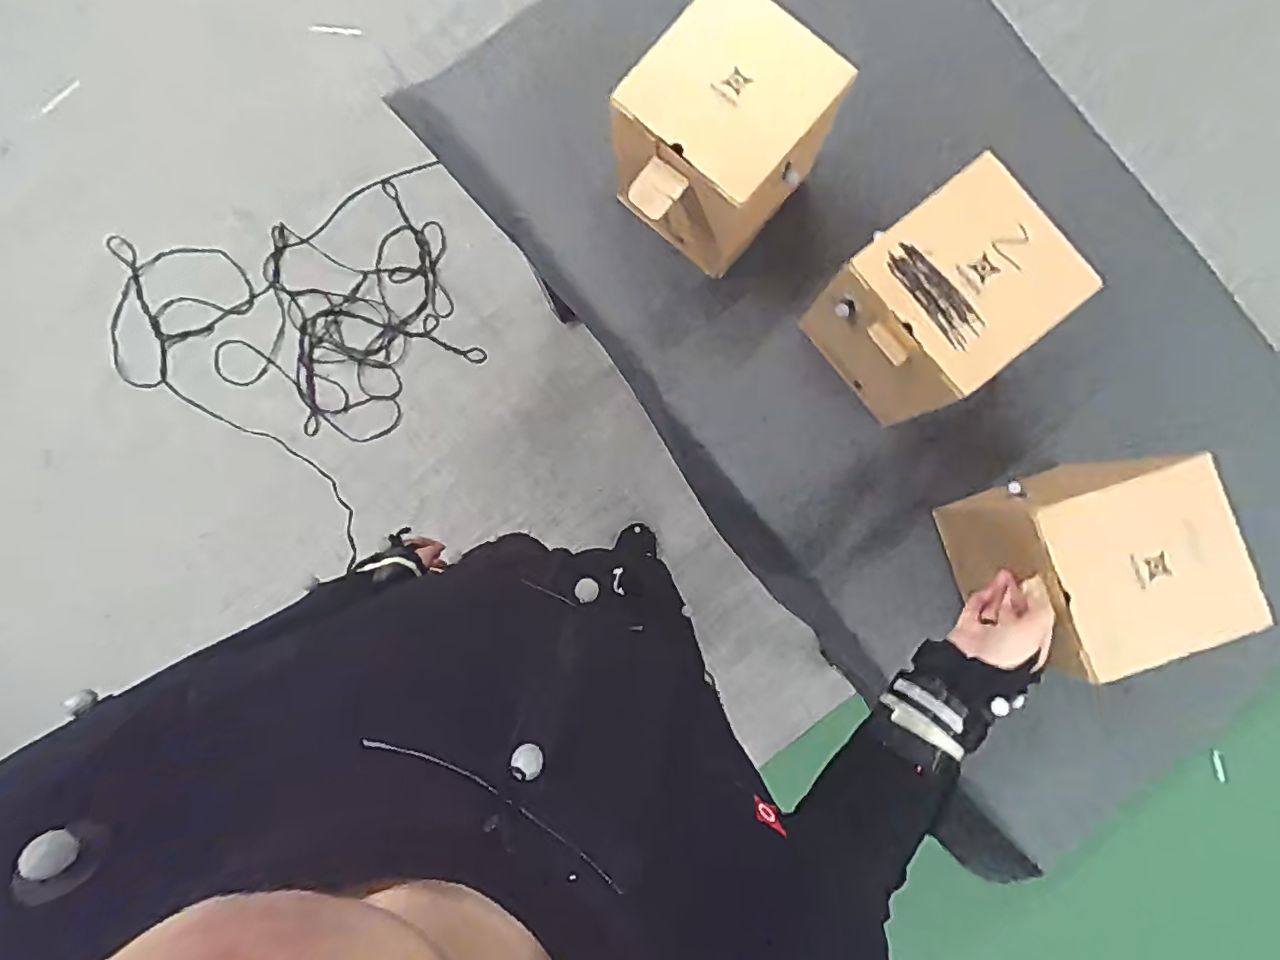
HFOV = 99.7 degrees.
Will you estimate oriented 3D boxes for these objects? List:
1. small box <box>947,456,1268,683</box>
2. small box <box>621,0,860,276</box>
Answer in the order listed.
[{"bbox_3d":[0.459,0.084,0.568,0.179,0.176,0.168,-18,88,-2],"label":"small box"},{"bbox_3d":[0.094,-0.366,0.593,0.168,0.176,0.179,40,89,2],"label":"small box"}]
